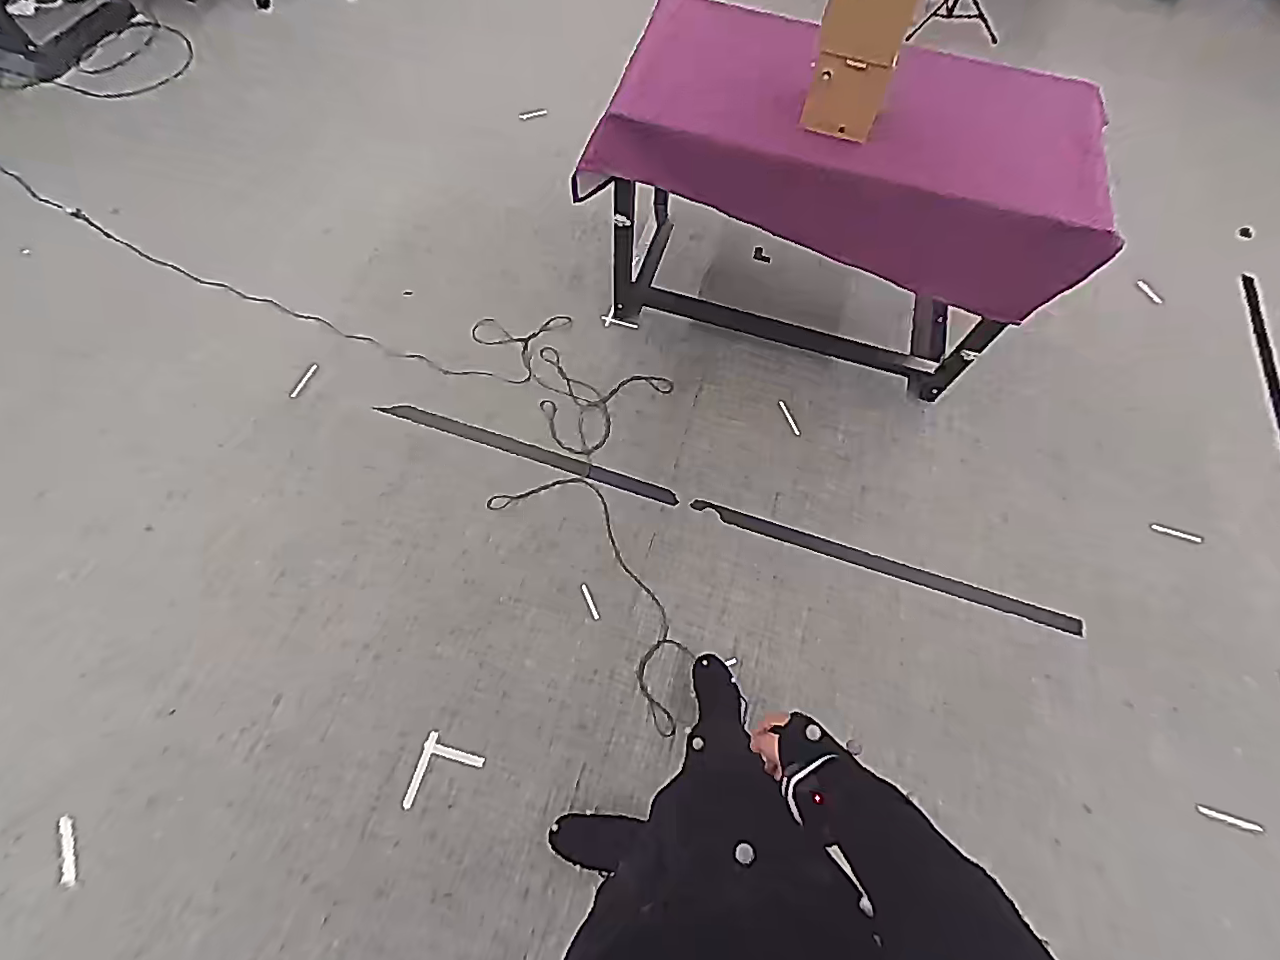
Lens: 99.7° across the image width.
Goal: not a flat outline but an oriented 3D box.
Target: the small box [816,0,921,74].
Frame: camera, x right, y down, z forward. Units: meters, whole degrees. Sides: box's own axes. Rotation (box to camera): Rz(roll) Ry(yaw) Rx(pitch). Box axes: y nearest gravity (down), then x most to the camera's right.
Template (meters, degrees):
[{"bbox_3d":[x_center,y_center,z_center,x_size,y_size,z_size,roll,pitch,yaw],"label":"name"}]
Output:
[{"bbox_3d":[0.492,-1.004,1.144,0.179,0.176,0.168,19,65,6],"label":"small box"}]
